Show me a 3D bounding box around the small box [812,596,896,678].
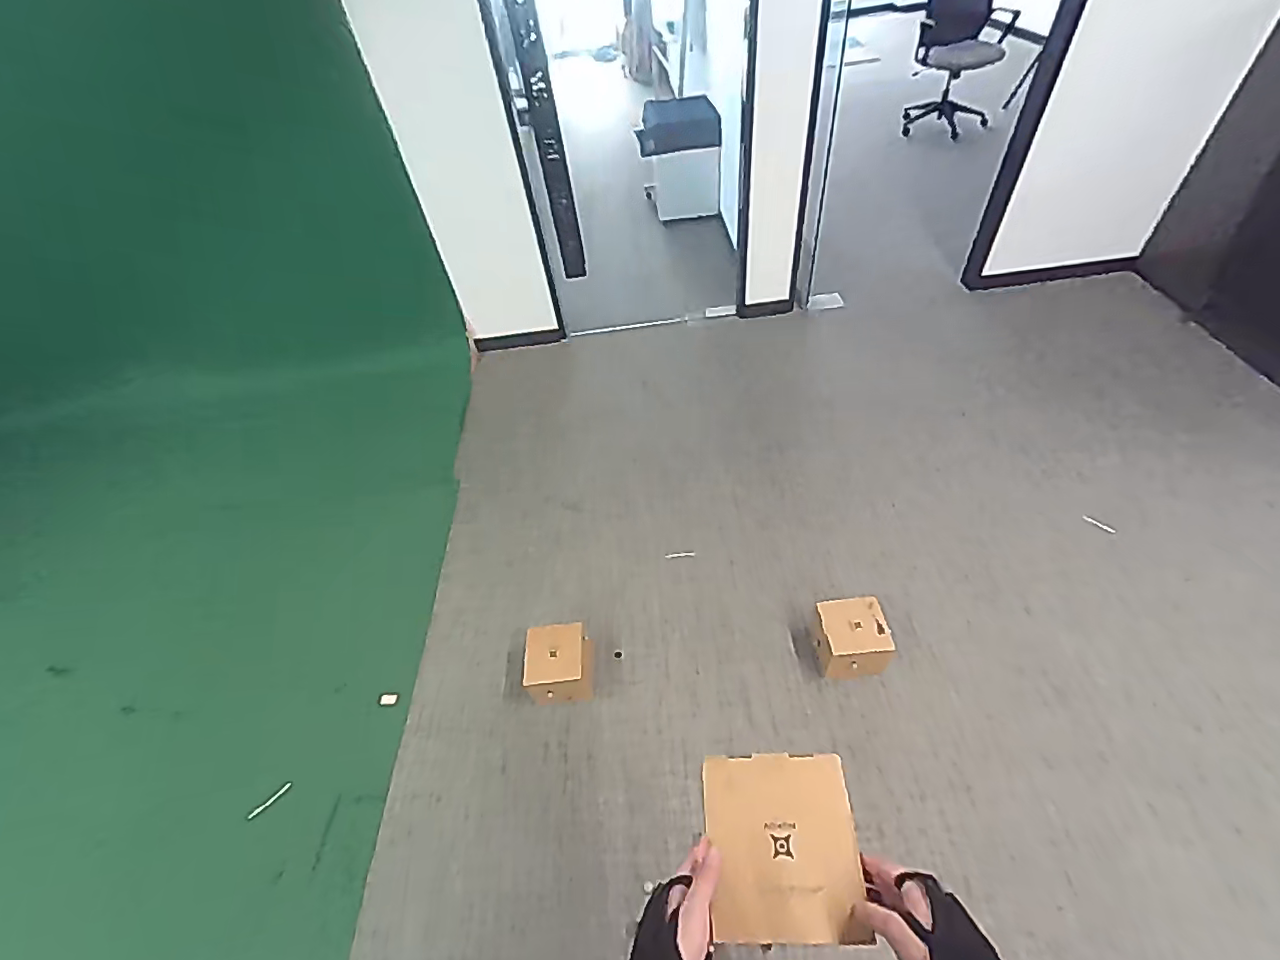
[{"bbox_3d":[0.605,0.457,1.559,0.179,0.176,0.168,-6,48,2],"label":"small box"}]

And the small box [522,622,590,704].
[{"bbox_3d":[-0.241,0.544,1.593,0.168,0.176,0.179,-7,47,2],"label":"small box"}]

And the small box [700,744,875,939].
[{"bbox_3d":[0.159,0.431,0.651,0.168,0.176,0.179,-2,54,5],"label":"small box"}]
